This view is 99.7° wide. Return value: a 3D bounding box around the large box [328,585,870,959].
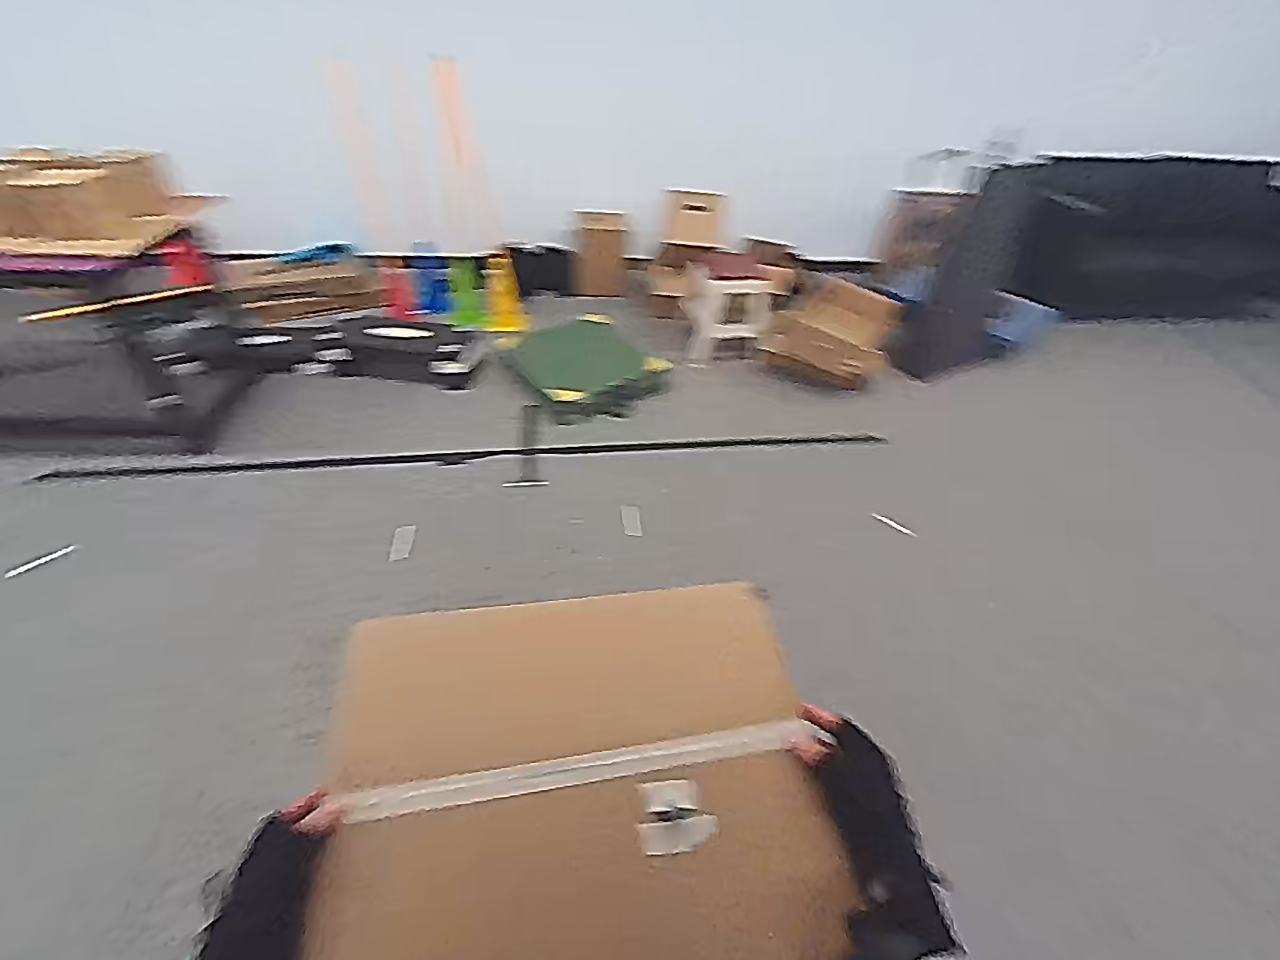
[{"bbox_3d":[-0.057,0.340,0.582,0.408,0.320,0.320,-3,52,-11],"label":"large box"}]
